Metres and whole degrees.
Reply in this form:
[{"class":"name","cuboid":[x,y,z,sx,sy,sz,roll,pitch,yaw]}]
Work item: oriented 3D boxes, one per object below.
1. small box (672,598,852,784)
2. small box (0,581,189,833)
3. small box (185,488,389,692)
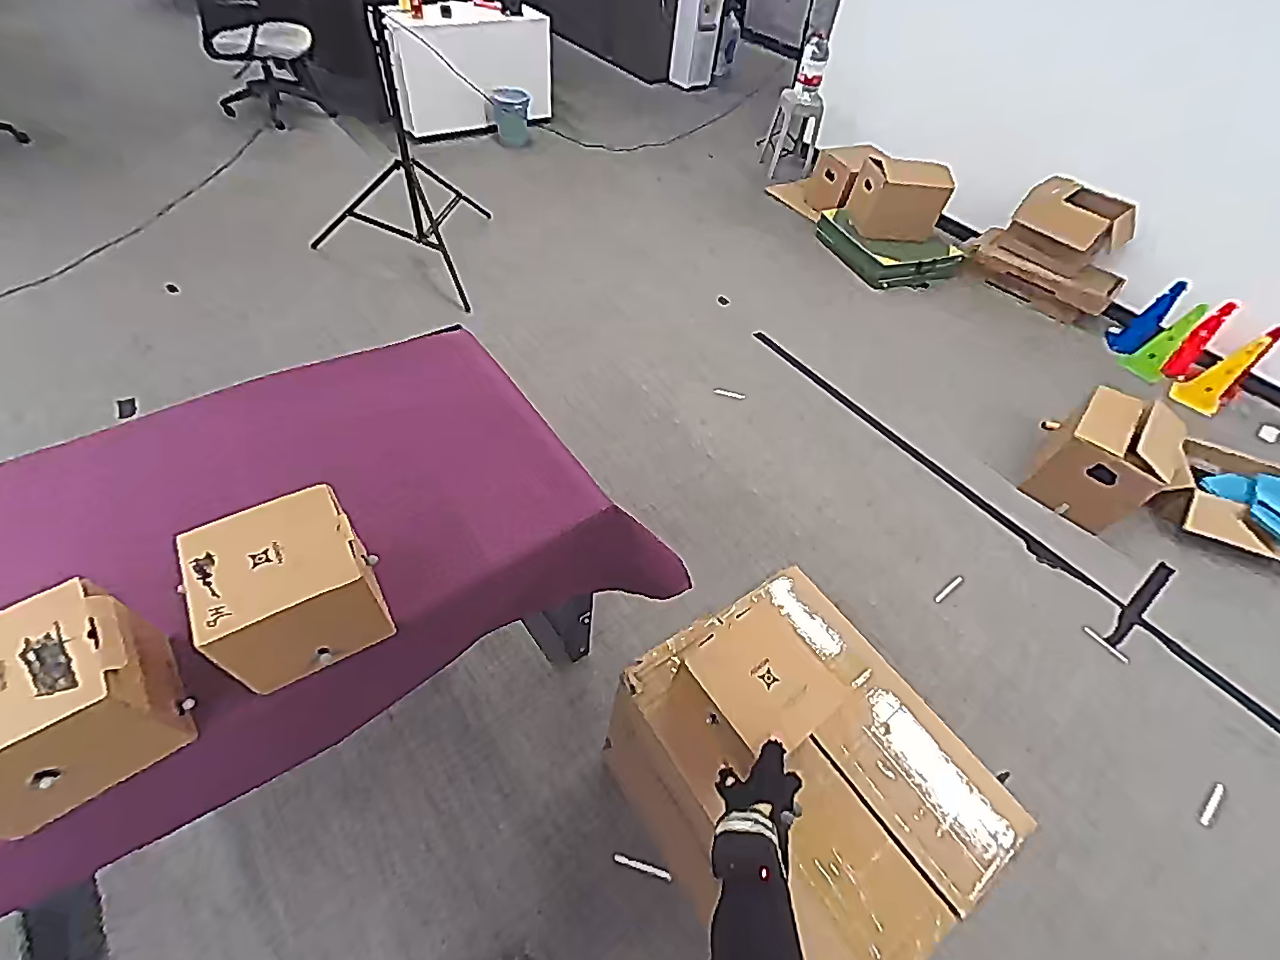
[{"class":"small box","cuboid":[0.166,0.315,0.800,0.168,0.176,0.179,-29,62,-24]},{"class":"small box","cuboid":[-0.649,0.252,0.602,0.179,0.176,0.168,-29,59,-27]},{"class":"small box","cuboid":[-0.452,0.146,0.718,0.179,0.176,0.168,-23,57,-25]}]
